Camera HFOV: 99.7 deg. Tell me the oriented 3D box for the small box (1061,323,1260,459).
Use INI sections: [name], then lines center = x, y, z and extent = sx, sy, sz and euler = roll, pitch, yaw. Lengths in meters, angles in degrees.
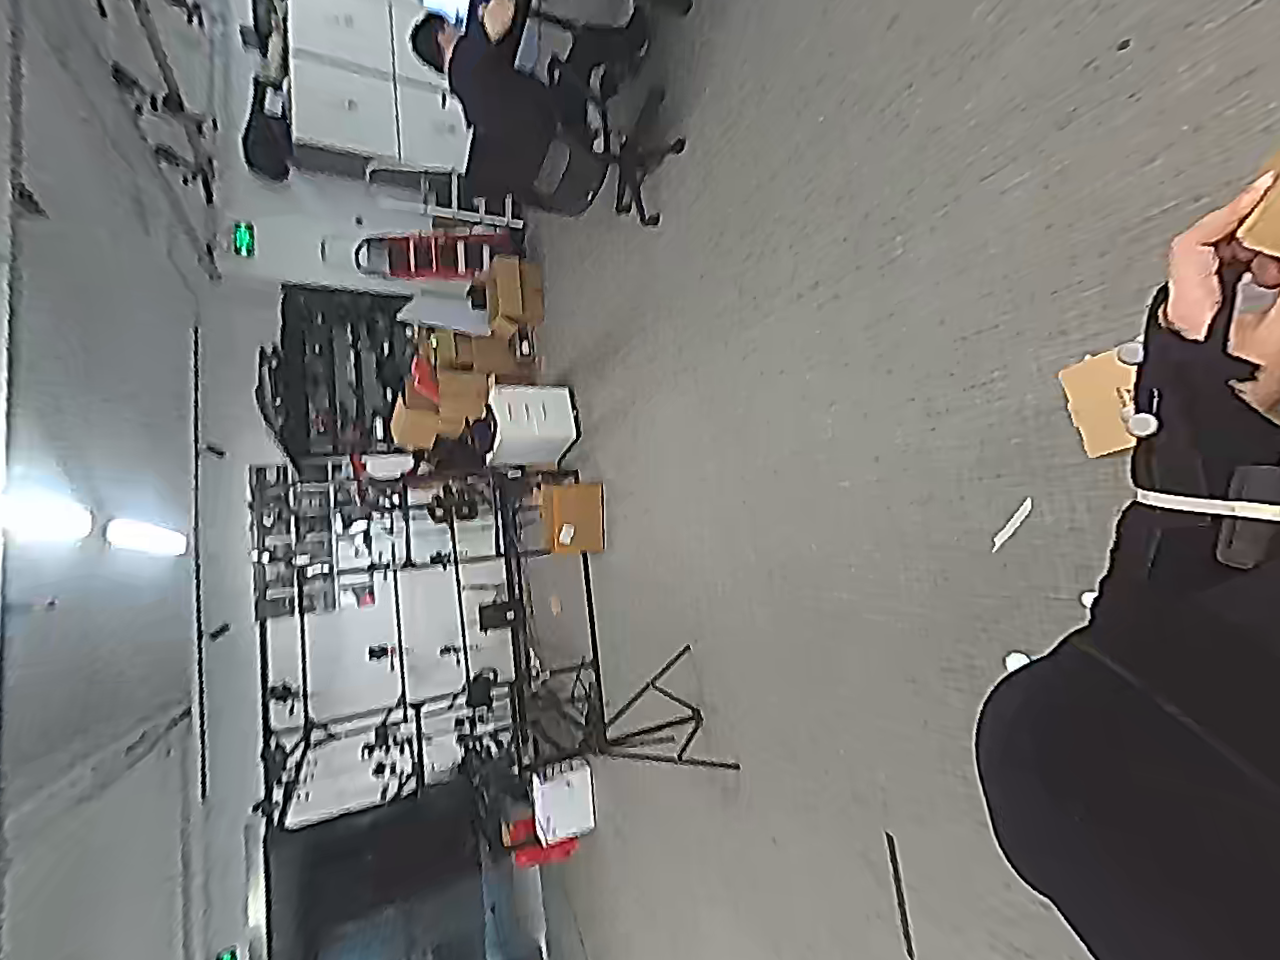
[small box]
center = 0.860, -0.141, 0.894
extent = 0.179, 0.176, 0.168
euler = -35, 62, 61
